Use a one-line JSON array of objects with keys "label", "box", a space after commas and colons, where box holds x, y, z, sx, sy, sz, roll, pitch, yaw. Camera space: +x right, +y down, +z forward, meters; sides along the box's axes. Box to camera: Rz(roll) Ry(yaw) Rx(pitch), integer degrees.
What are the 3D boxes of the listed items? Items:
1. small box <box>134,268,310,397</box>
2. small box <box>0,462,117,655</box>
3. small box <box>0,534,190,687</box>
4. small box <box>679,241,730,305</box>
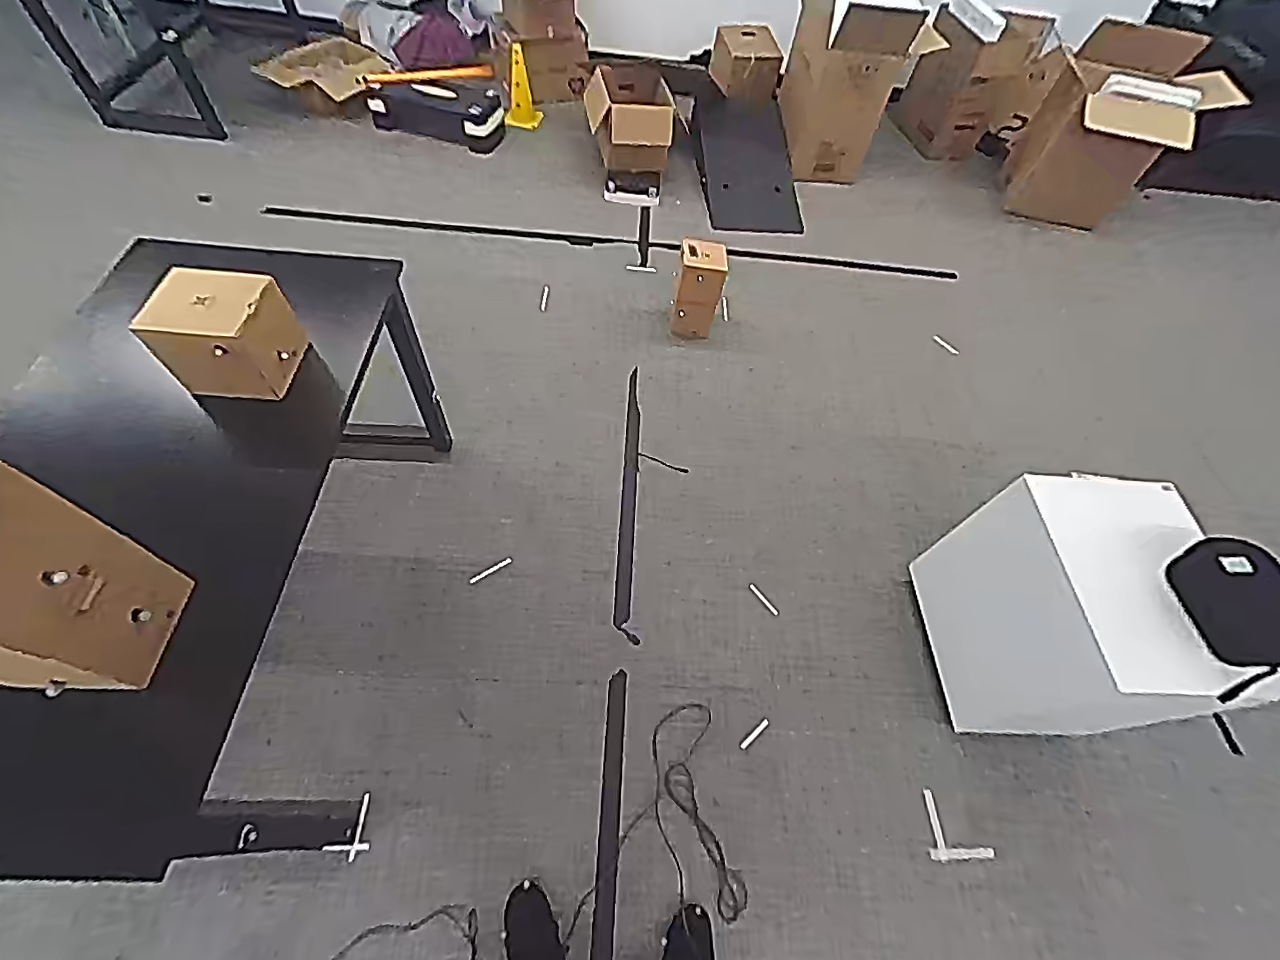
[{"label": "small box", "box": [-0.771, -0.274, 1.023, 0.179, 0.176, 0.168, 4, 57, -4]}, {"label": "small box", "box": [-0.761, 0.089, 0.594, 0.179, 0.176, 0.168, 3, 58, -5]}, {"label": "small box", "box": [-0.774, 0.177, 0.733, 0.179, 0.176, 0.168, 3, 57, -5]}, {"label": "small box", "box": [0.249, -0.820, 2.151, 0.179, 0.176, 0.168, 5, 57, -5]}]
